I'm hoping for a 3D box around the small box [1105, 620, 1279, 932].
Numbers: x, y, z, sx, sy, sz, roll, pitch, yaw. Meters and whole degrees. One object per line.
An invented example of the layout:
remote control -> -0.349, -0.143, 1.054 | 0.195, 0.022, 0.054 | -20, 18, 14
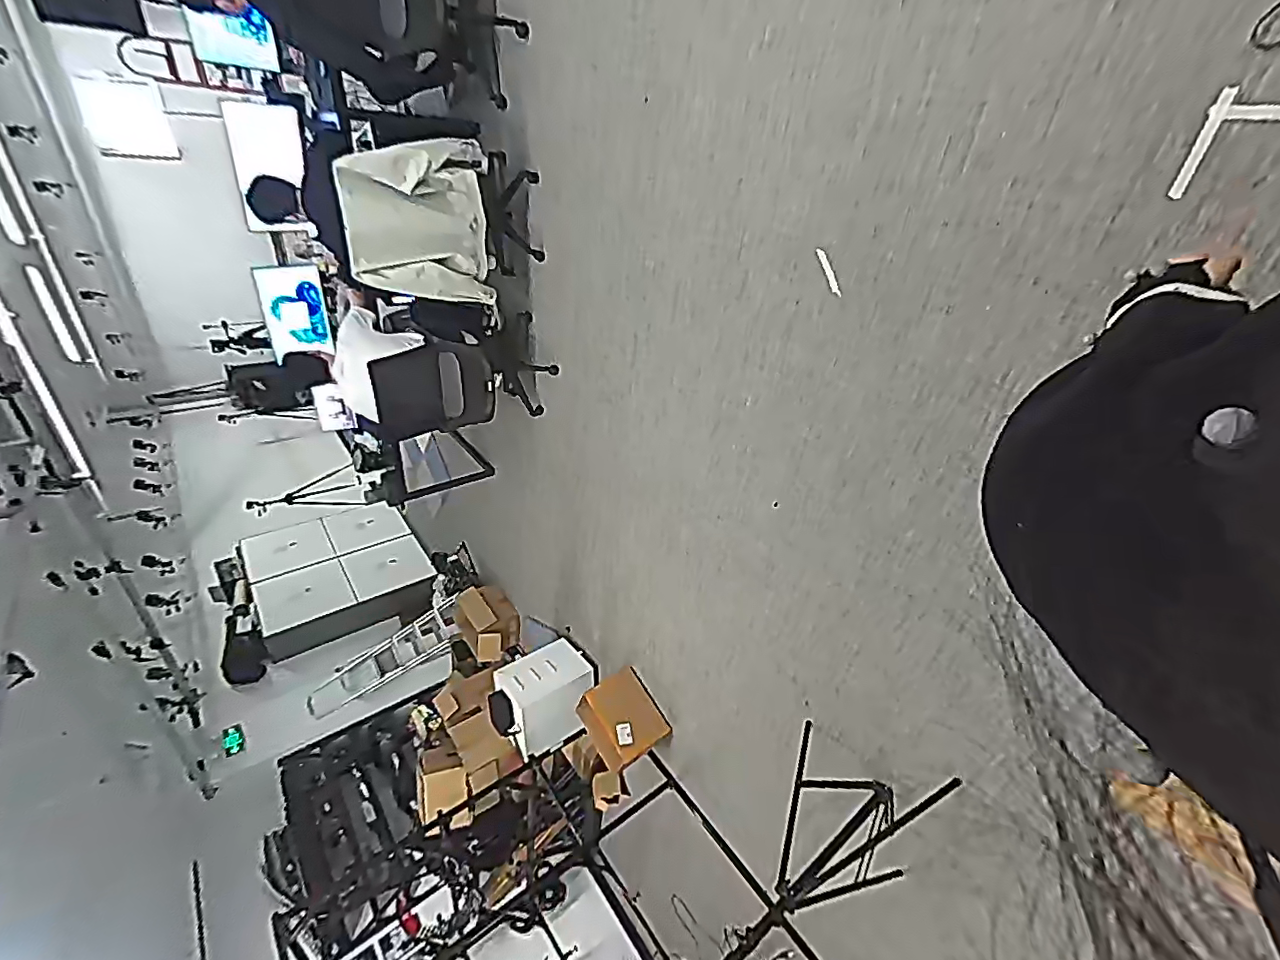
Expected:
small box -> 0.576, 0.258, 0.477 | 0.168, 0.176, 0.179 | 41, 138, 38
